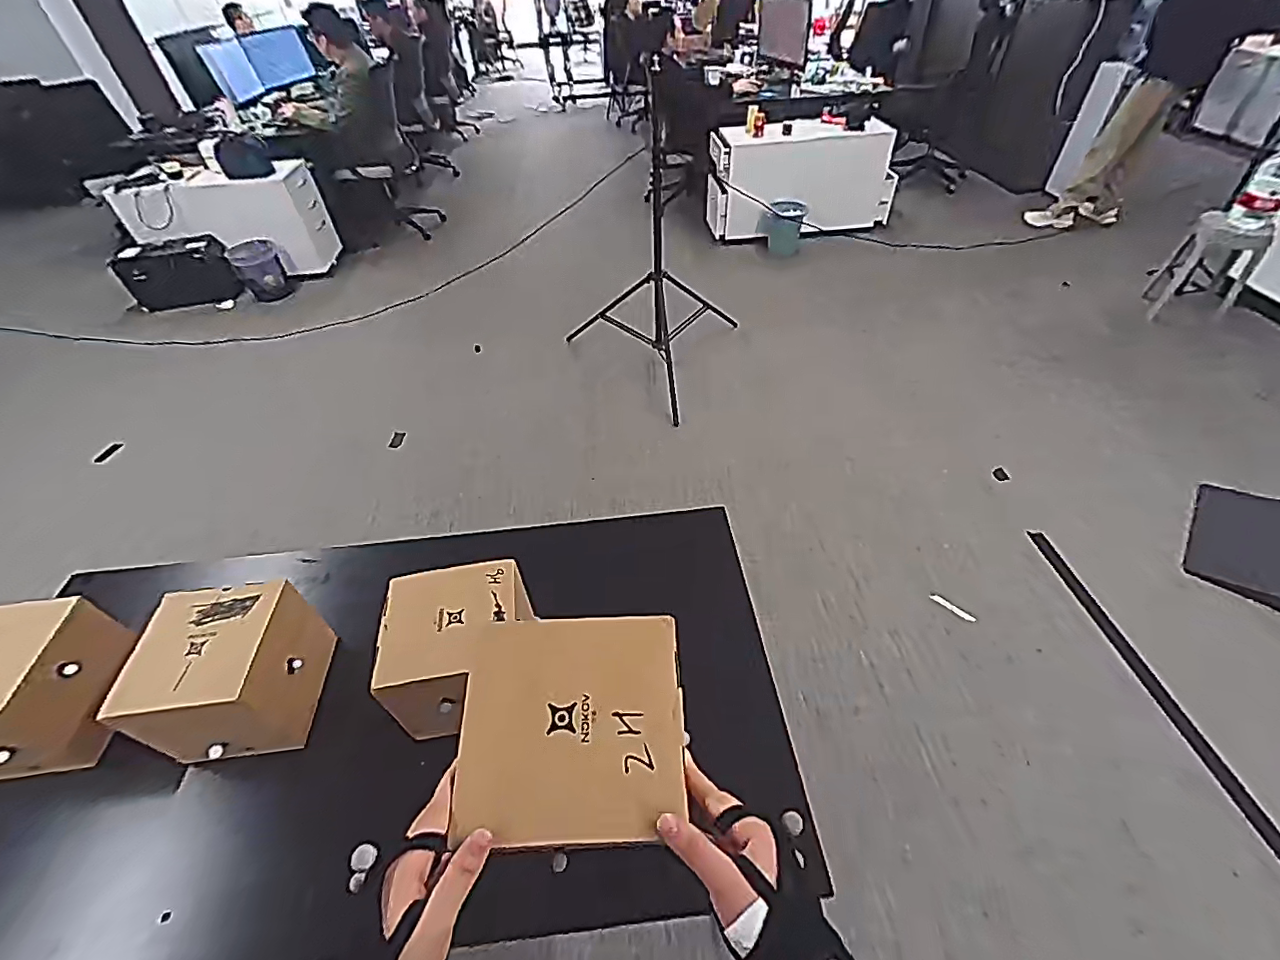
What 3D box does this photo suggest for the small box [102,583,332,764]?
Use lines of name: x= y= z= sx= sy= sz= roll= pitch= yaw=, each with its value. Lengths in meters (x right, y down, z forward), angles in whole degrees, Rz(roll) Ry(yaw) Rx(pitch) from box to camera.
small box: x=-0.565 y=0.271 z=0.760 sx=0.168 sy=0.176 sz=0.179 roll=-7 pitch=46 yaw=-3

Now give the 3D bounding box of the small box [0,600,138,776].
small box: x=-0.851 y=0.295 z=0.754 sx=0.168 sy=0.176 sz=0.179 roll=-6 pitch=44 yaw=-5

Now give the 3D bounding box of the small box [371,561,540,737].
small box: x=-0.248 y=0.243 z=0.770 sx=0.179 sy=0.176 sz=0.168 roll=-9 pitch=46 yaw=-5
